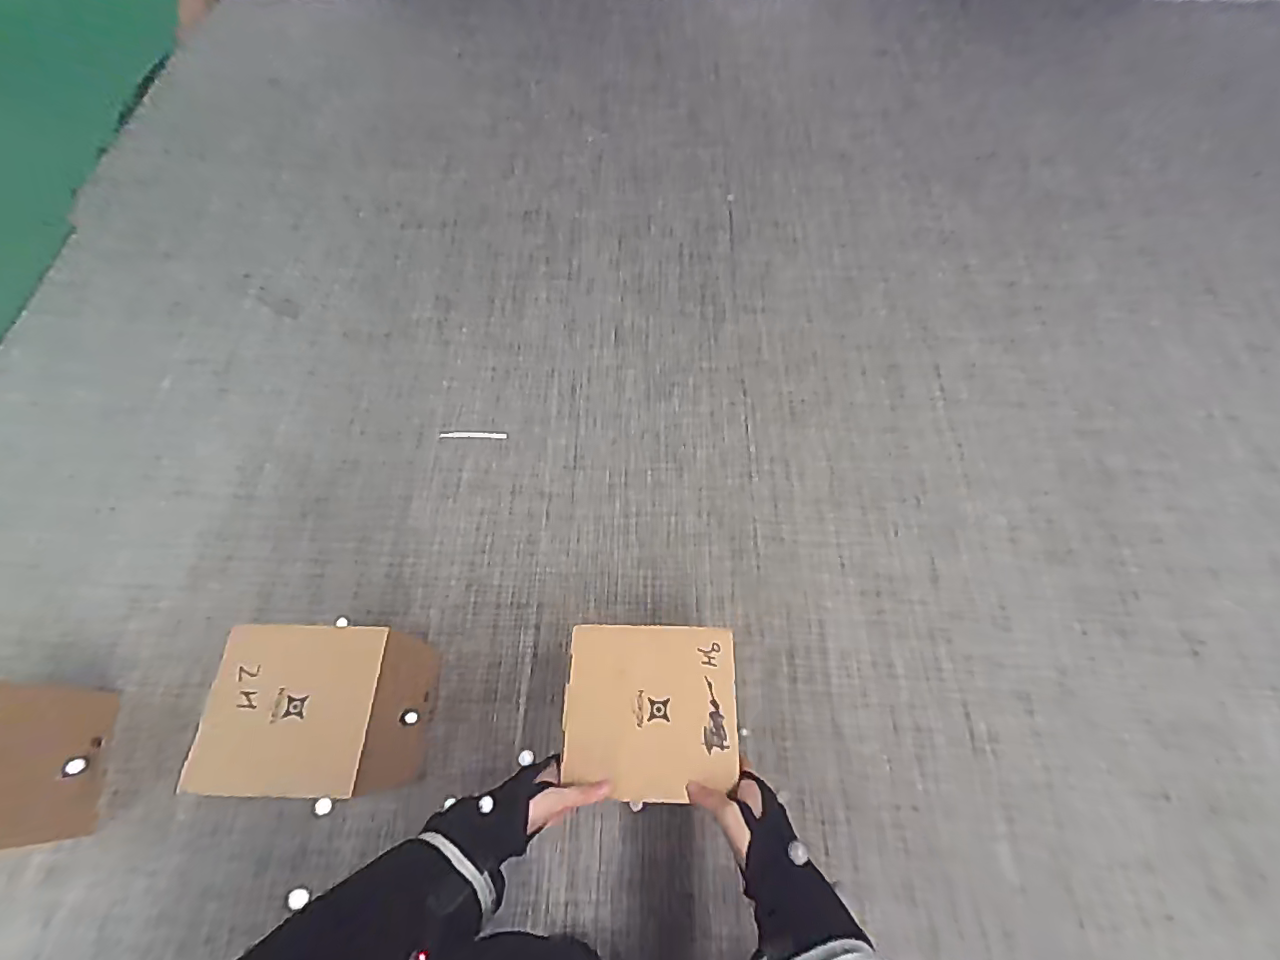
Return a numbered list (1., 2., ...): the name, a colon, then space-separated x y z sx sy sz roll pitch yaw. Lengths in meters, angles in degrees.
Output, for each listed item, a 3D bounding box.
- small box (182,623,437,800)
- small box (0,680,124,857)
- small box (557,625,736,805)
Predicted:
1. small box: -0.359 0.270 0.633 0.179 0.176 0.168 2 62 1
2. small box: -0.751 0.333 0.601 0.179 0.176 0.168 -9 64 -6
3. small box: 0.014 0.270 0.622 0.179 0.176 0.168 1 63 4
